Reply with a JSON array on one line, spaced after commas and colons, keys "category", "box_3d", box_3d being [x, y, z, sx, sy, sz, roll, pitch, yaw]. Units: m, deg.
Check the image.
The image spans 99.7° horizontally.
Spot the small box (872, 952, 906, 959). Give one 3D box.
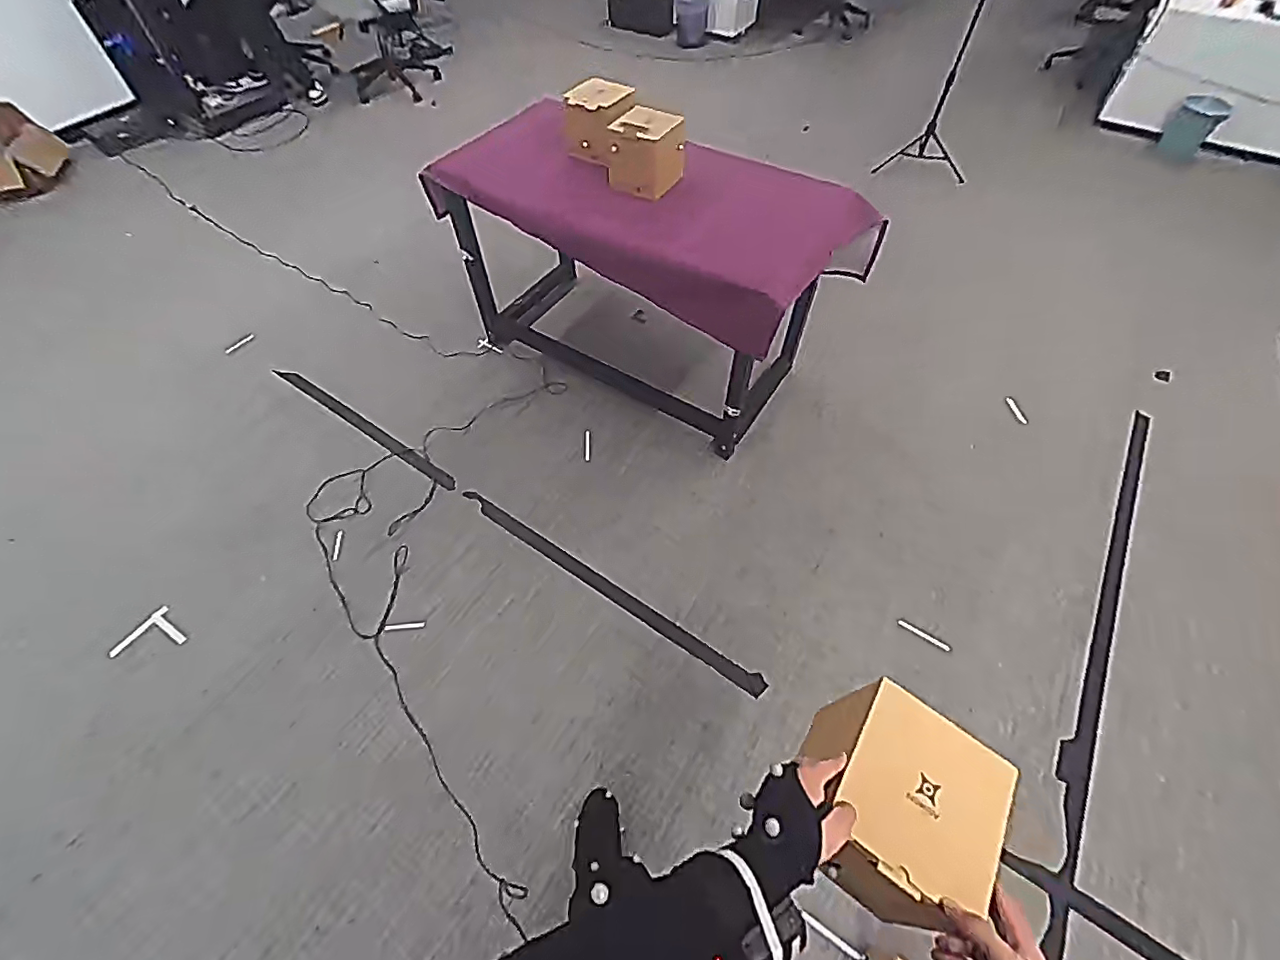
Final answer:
[{"category": "small box", "box_3d": [0.549, 1.089, 1.077, 0.179, 0.176, 0.168, 27, 60, 17]}]

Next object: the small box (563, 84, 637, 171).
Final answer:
[{"category": "small box", "box_3d": [-0.123, -1.126, 1.729, 0.168, 0.176, 0.179, 27, 60, 18]}]

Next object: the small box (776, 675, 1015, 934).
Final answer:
[{"category": "small box", "box_3d": [0.281, 0.364, 0.623, 0.168, 0.176, 0.179, 34, 57, 13]}]
